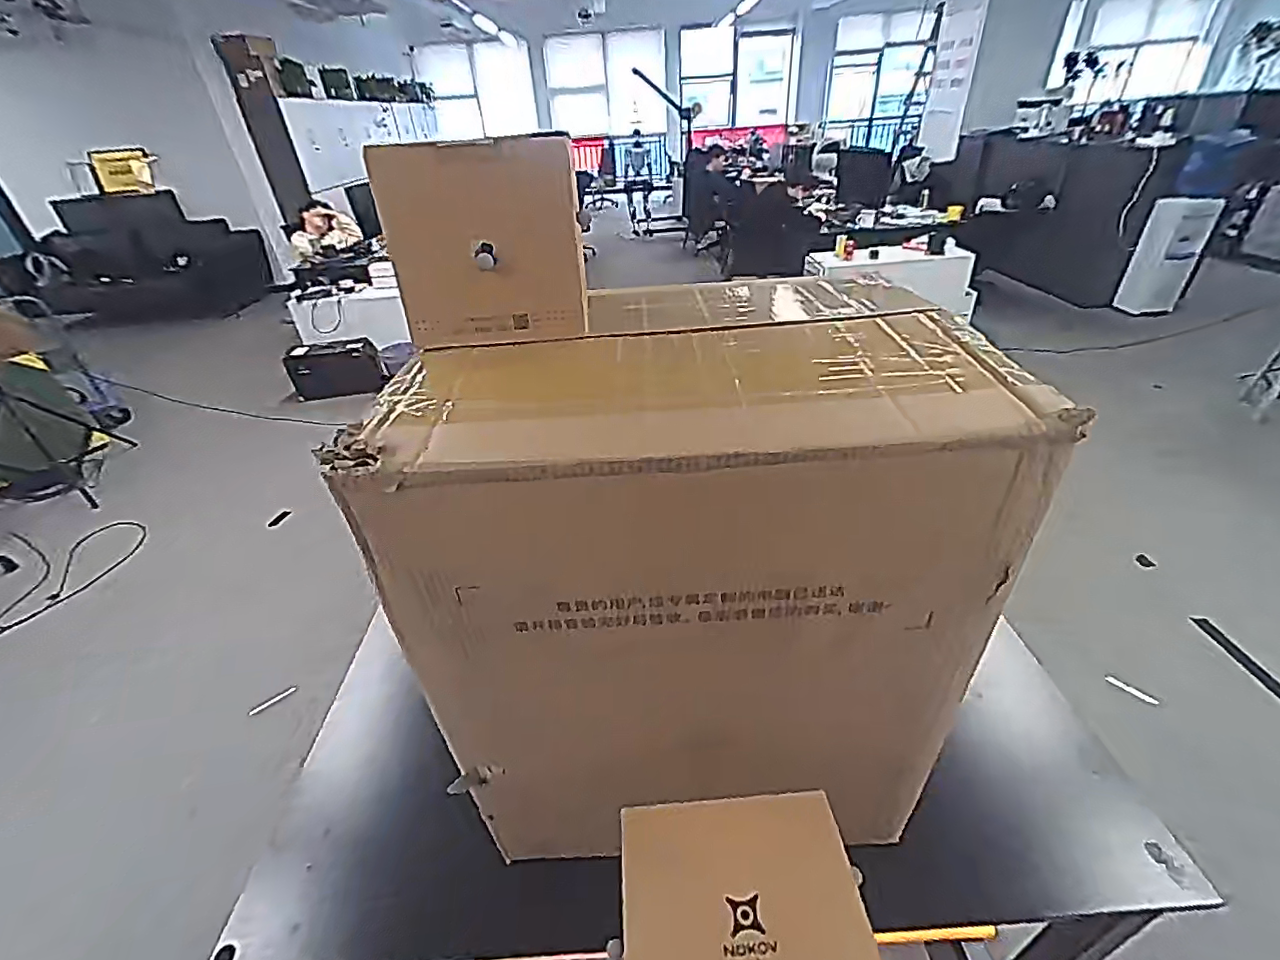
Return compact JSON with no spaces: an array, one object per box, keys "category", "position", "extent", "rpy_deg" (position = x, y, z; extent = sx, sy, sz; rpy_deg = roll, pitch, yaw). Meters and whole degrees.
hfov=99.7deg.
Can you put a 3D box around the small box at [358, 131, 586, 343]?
[{"category":"small box","position":[-0.144,-0.240,0.539],"extent":[0.168,0.176,0.179],"rpy_deg":[-5,32,-3]}]
